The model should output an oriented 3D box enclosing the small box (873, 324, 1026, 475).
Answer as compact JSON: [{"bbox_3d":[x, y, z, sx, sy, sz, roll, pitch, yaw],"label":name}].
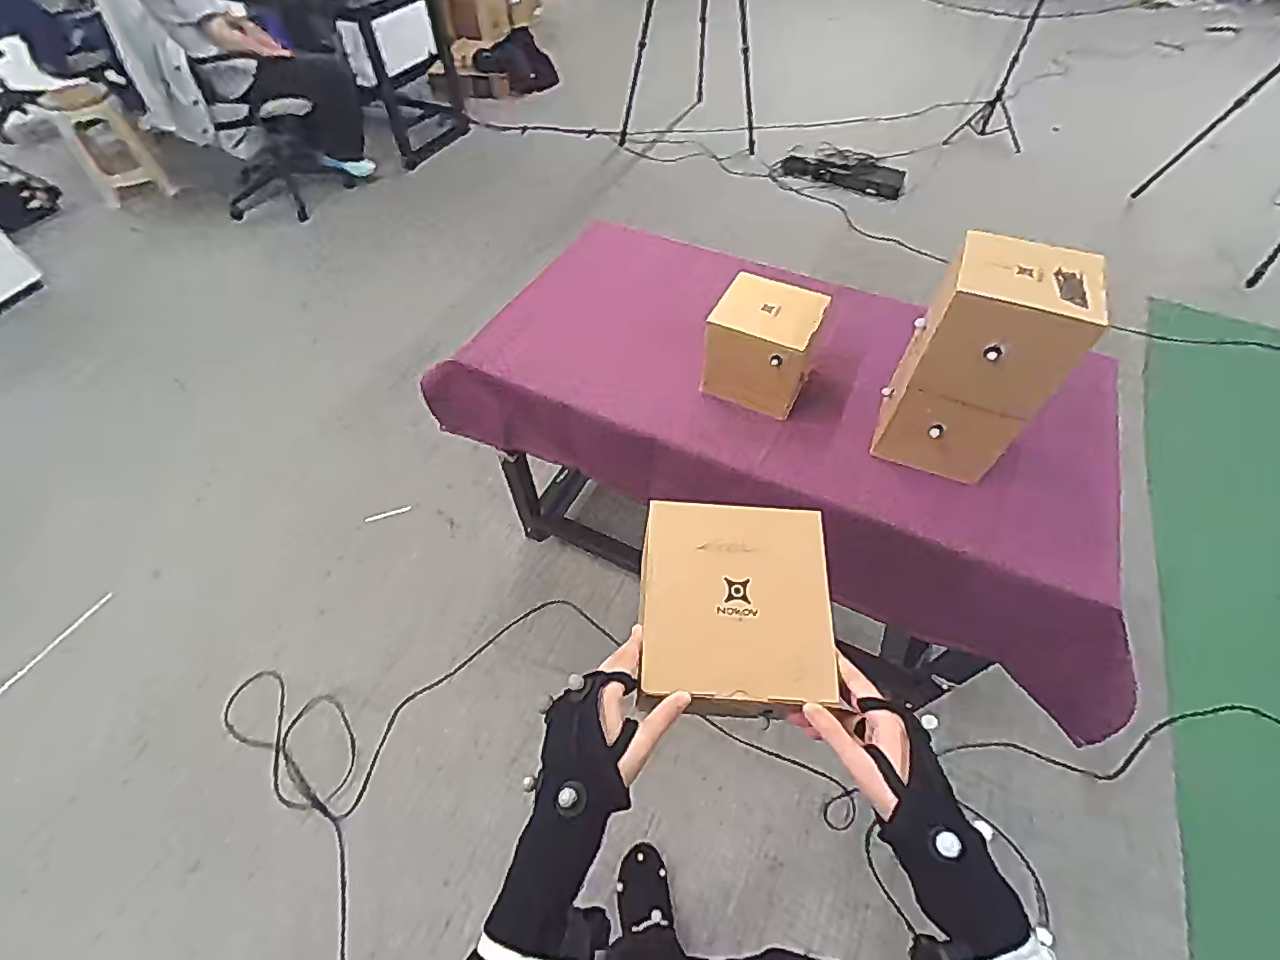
[{"bbox_3d":[0.512,-0.132,0.908,0.179,0.176,0.168,19,56,15],"label":"small box"}]

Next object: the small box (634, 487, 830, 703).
[{"bbox_3d":[0.082,0.126,0.555,0.168,0.176,0.179,5,63,0],"label":"small box"}]

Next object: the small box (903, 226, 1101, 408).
[{"bbox_3d":[0.508,-0.228,0.775,0.179,0.176,0.168,20,56,15],"label":"small box"}]

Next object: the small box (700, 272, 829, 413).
[{"bbox_3d":[0.223,-0.252,1.005,0.179,0.176,0.168,23,57,16],"label":"small box"}]
